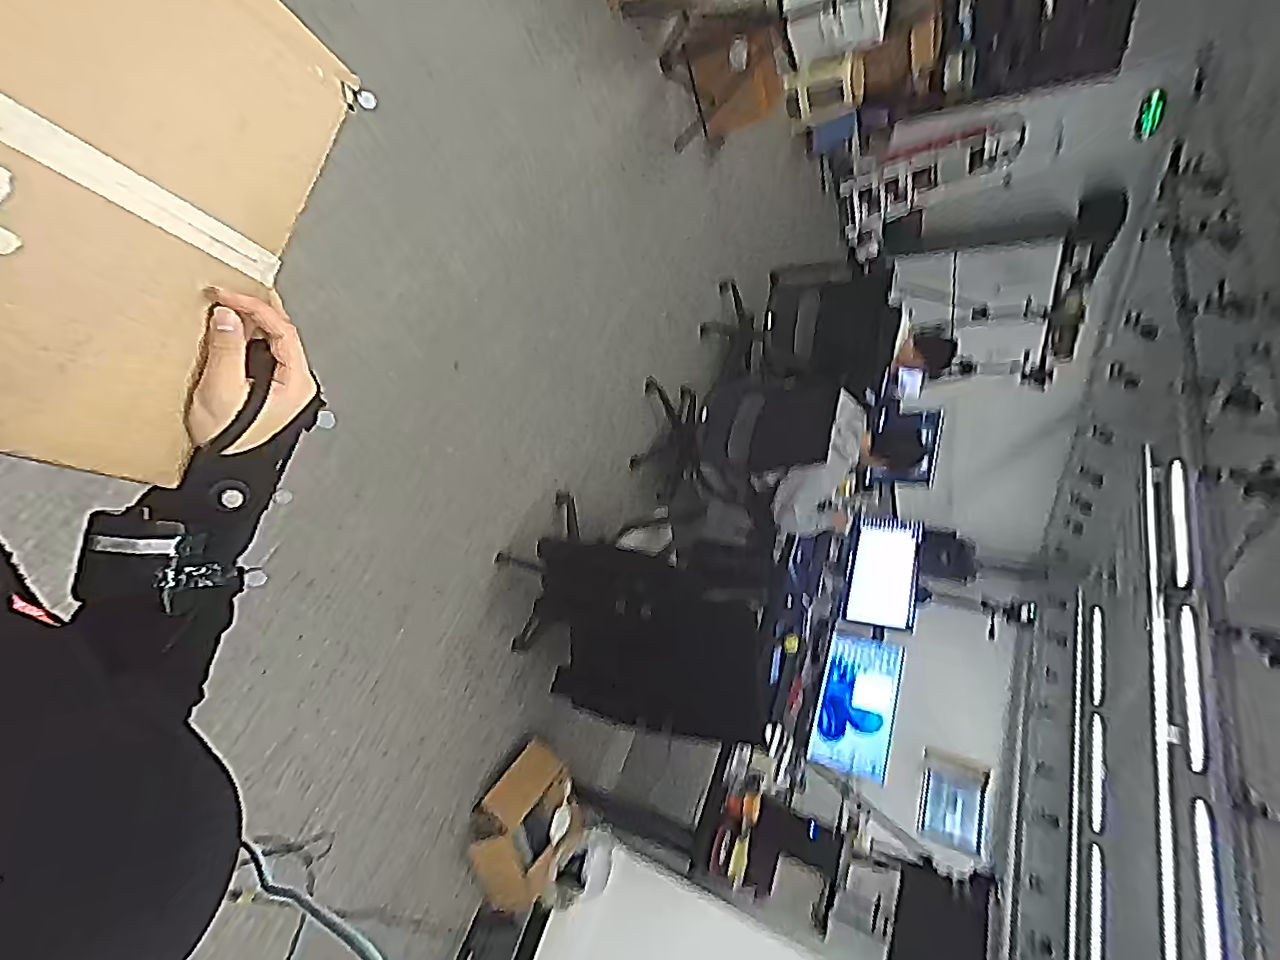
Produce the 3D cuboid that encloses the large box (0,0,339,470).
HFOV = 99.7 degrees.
[{"bbox_3d":[-0.476,-0.223,0.279,0.408,0.320,0.320,28,79,-60],"label":"large box"}]
